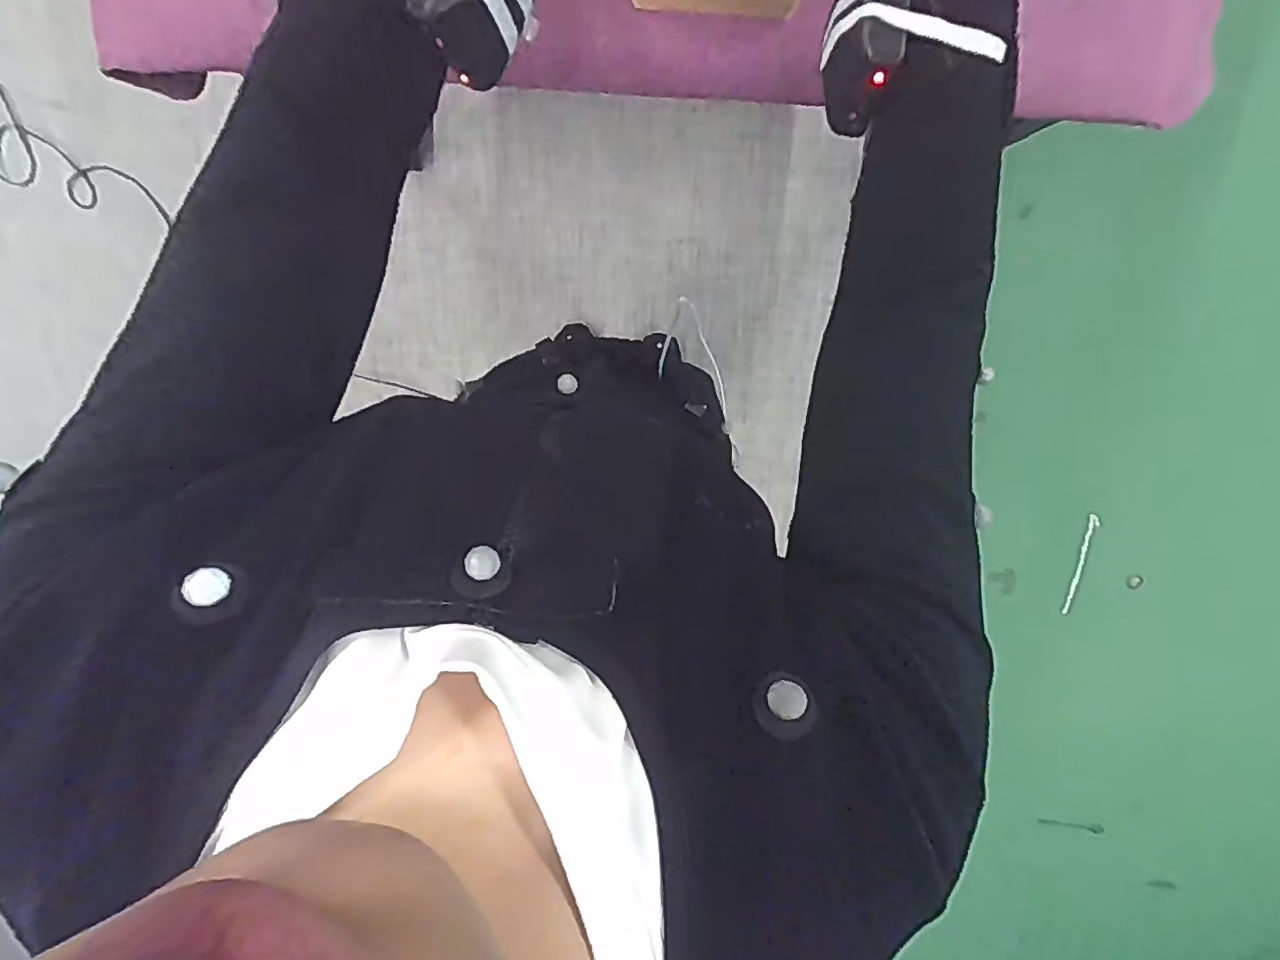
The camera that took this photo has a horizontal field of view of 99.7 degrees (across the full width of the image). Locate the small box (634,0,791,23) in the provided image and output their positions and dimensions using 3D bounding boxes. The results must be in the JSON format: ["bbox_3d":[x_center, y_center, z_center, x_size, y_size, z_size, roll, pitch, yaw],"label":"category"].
[{"bbox_3d":[0.084,-0.566,0.500,0.179,0.176,0.168,5,106,-1],"label":"small box"}]
